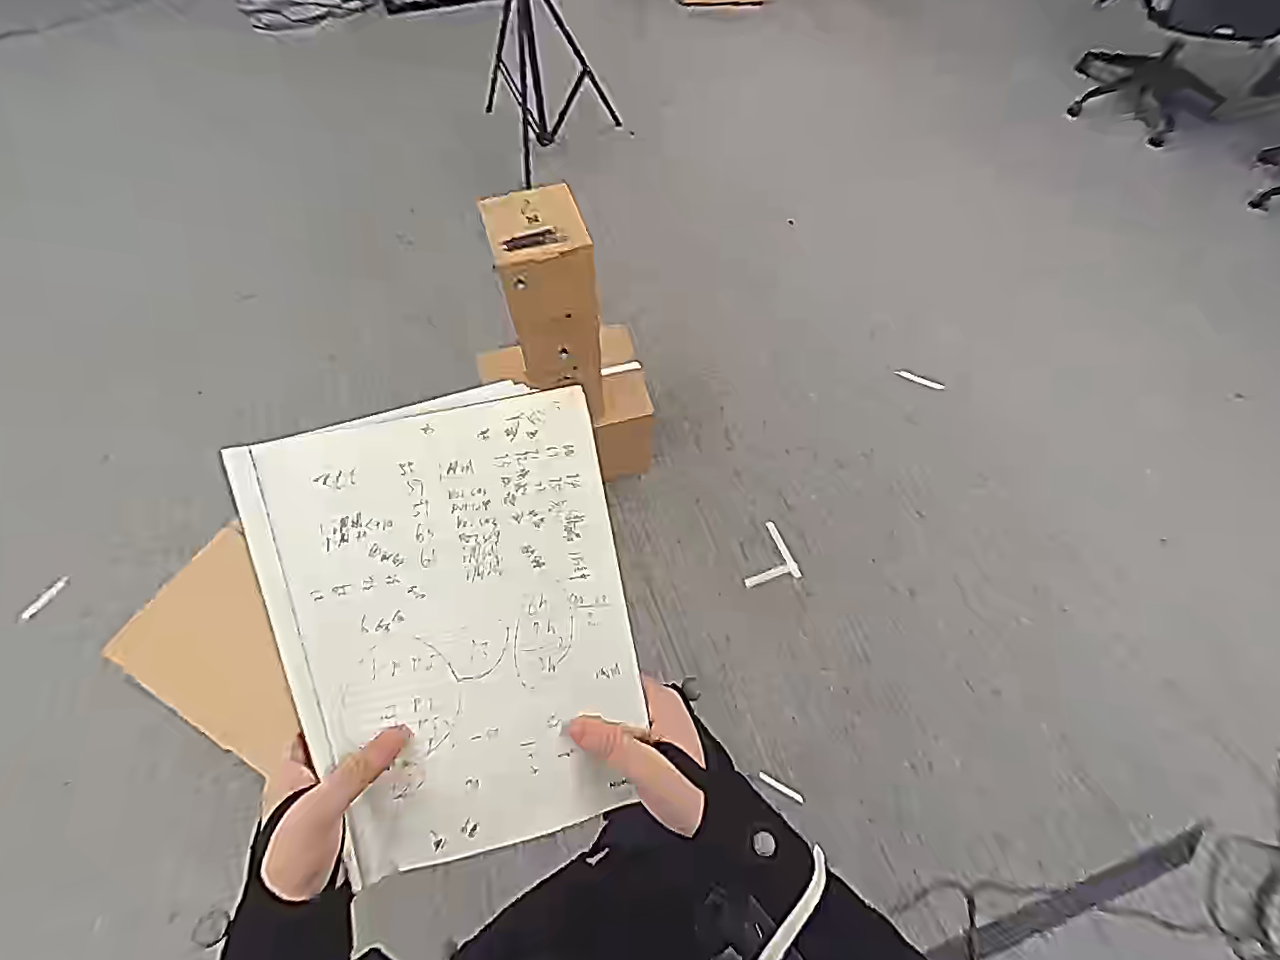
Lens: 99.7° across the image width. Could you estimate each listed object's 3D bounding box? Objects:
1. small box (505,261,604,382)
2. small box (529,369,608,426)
[{"bbox_3d":[-0.177,-0.328,1.157,0.168,0.176,0.179,-15,65,-8],"label":"small box"},{"bbox_3d":[-0.174,-0.245,1.298,0.168,0.176,0.179,-12,63,-6],"label":"small box"}]
